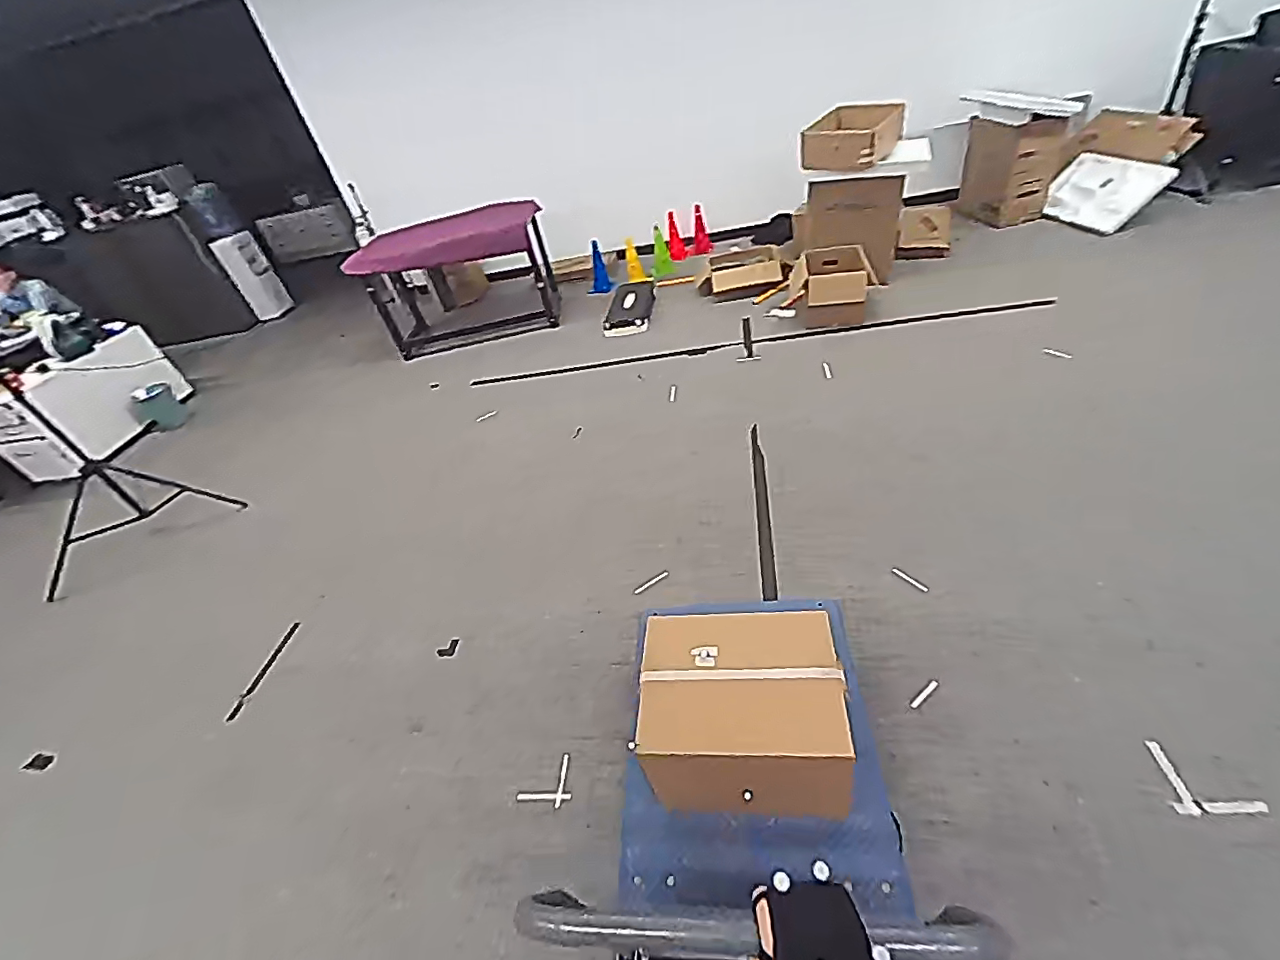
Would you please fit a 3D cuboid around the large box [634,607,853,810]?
[{"bbox_3d":[0.227,0.509,1.193,0.408,0.320,0.320,-7,39,12],"label":"large box"}]
